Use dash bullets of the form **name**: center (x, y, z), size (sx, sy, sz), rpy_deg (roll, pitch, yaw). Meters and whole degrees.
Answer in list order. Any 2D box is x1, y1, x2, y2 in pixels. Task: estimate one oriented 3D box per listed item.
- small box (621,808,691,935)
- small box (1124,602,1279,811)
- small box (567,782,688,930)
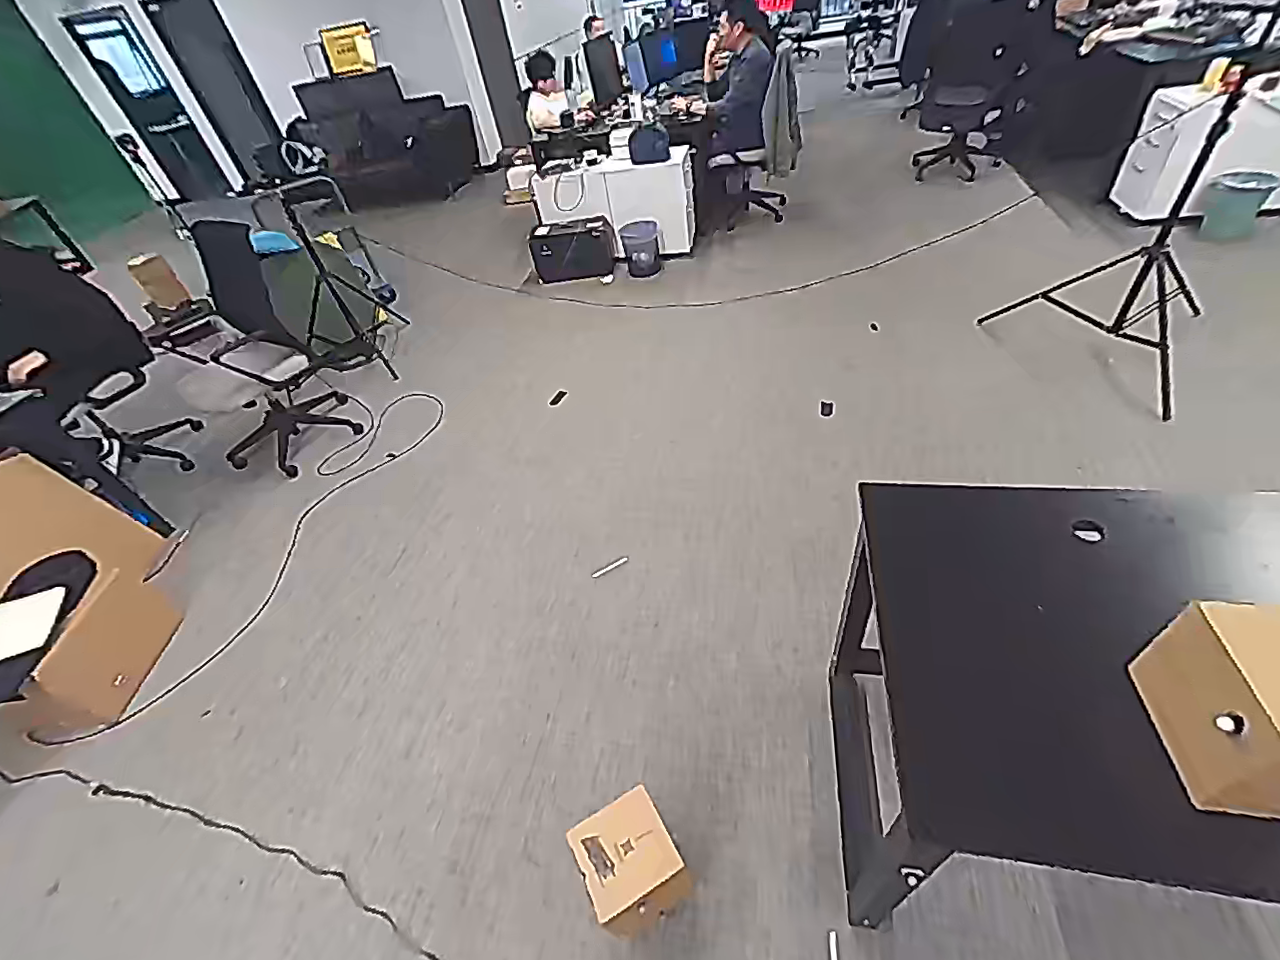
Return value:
- **small box**: center (0.000, 0.864, 1.206), size (0.179, 0.176, 0.168), rpy_deg (-27, 45, -17)
- **small box**: center (0.717, 0.263, 0.617), size (0.168, 0.176, 0.179), rpy_deg (1, 44, 13)
- **small box**: center (-0.020, 0.754, 1.083), size (0.179, 0.176, 0.168), rpy_deg (-26, 45, -15)
